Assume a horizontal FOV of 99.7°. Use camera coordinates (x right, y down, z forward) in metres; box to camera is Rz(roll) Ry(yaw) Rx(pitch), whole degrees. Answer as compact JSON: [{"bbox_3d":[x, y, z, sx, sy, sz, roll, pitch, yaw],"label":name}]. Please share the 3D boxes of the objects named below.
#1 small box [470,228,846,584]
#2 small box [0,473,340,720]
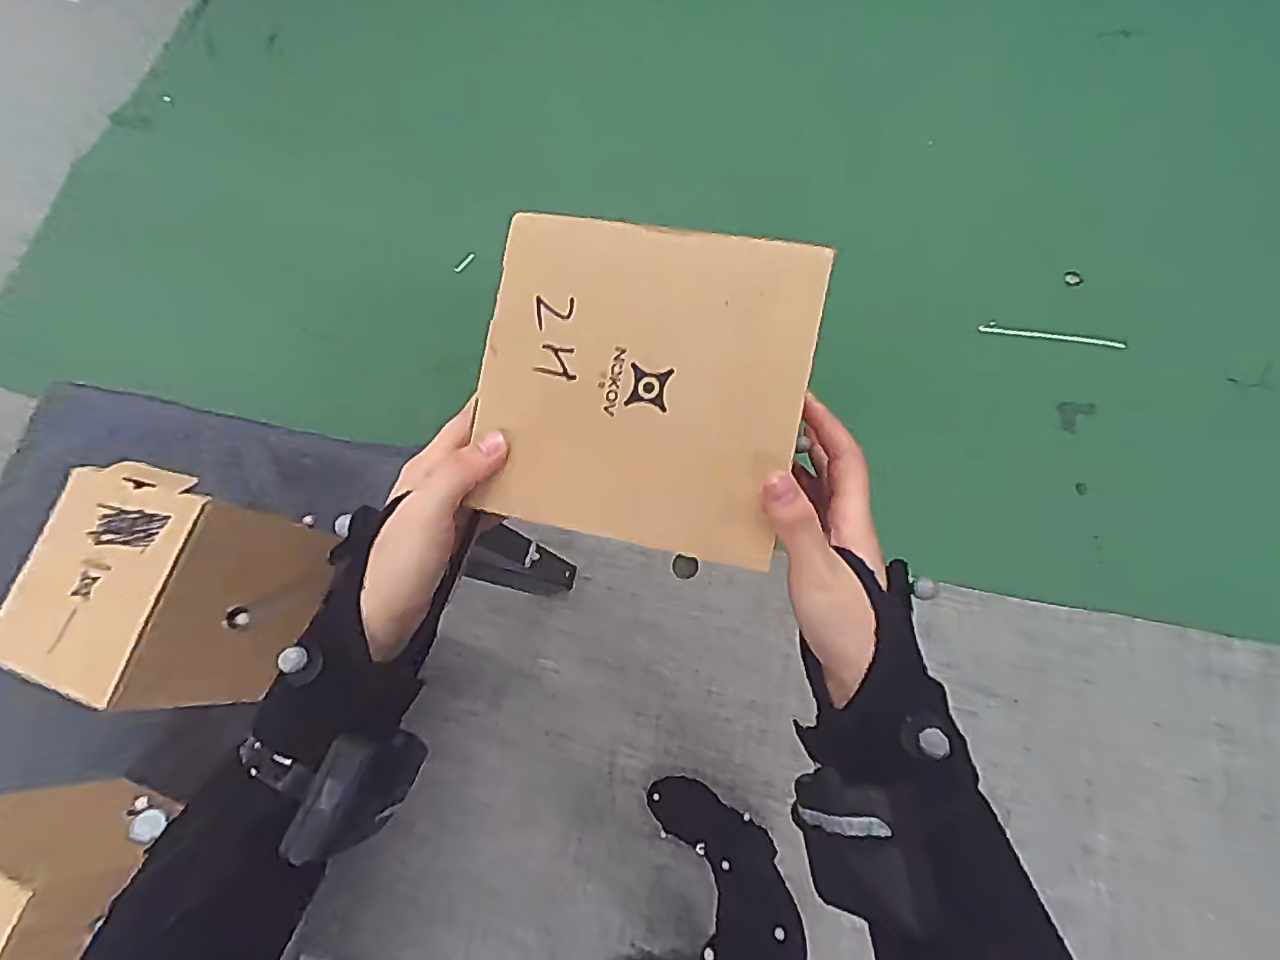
[{"bbox_3d":[0.018,-0.040,0.364,0.179,0.176,0.168,12,89,11],"label":"small box"},{"bbox_3d":[-0.437,0.113,0.530,0.168,0.176,0.179,11,75,17],"label":"small box"}]
